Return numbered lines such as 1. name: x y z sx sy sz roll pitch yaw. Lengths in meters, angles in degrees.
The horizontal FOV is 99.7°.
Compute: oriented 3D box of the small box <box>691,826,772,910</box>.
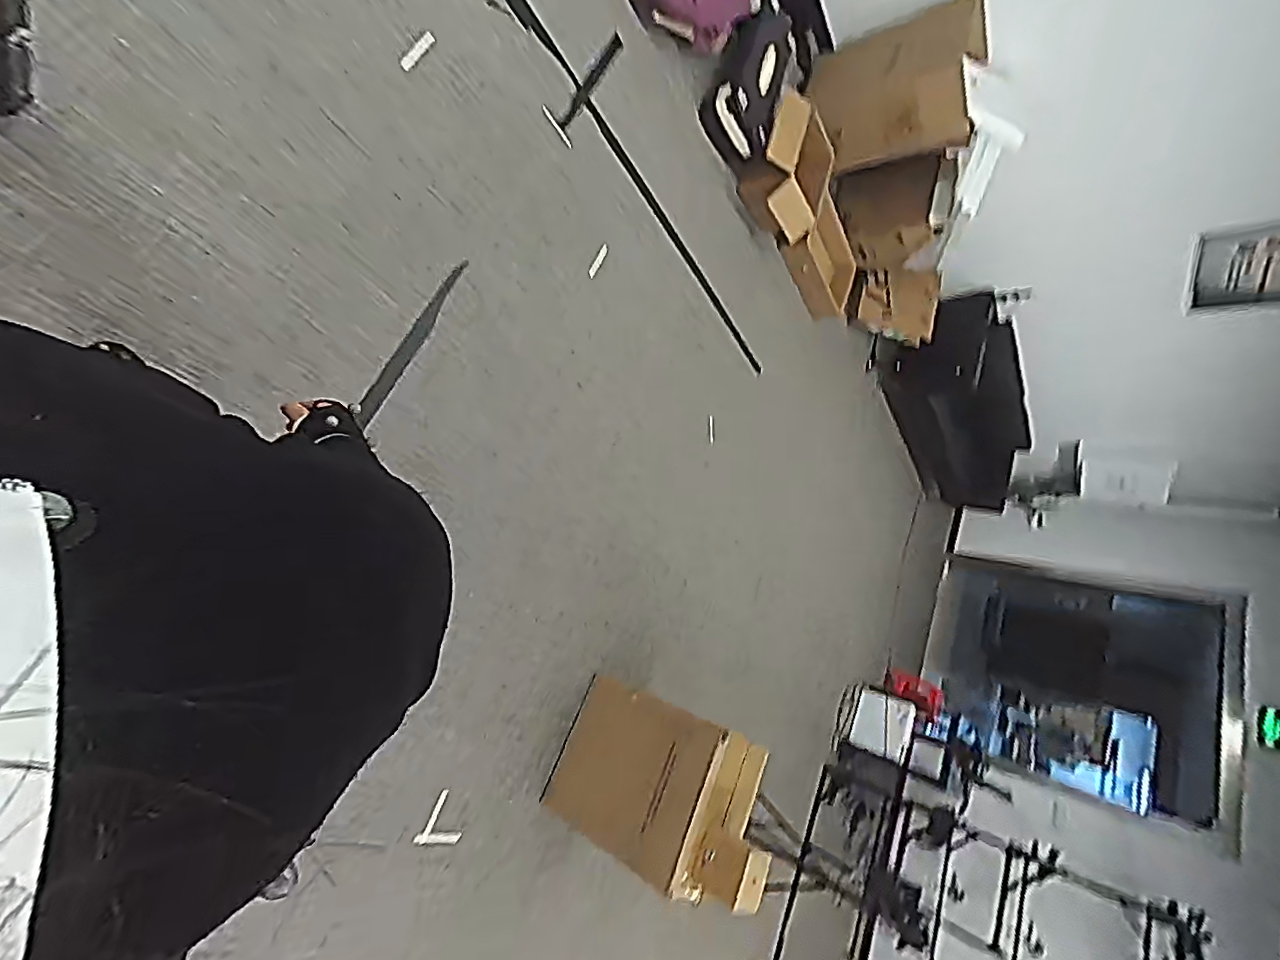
1. small box: 0.295 1.247 1.744 0.179 0.176 0.168 42 62 -40
